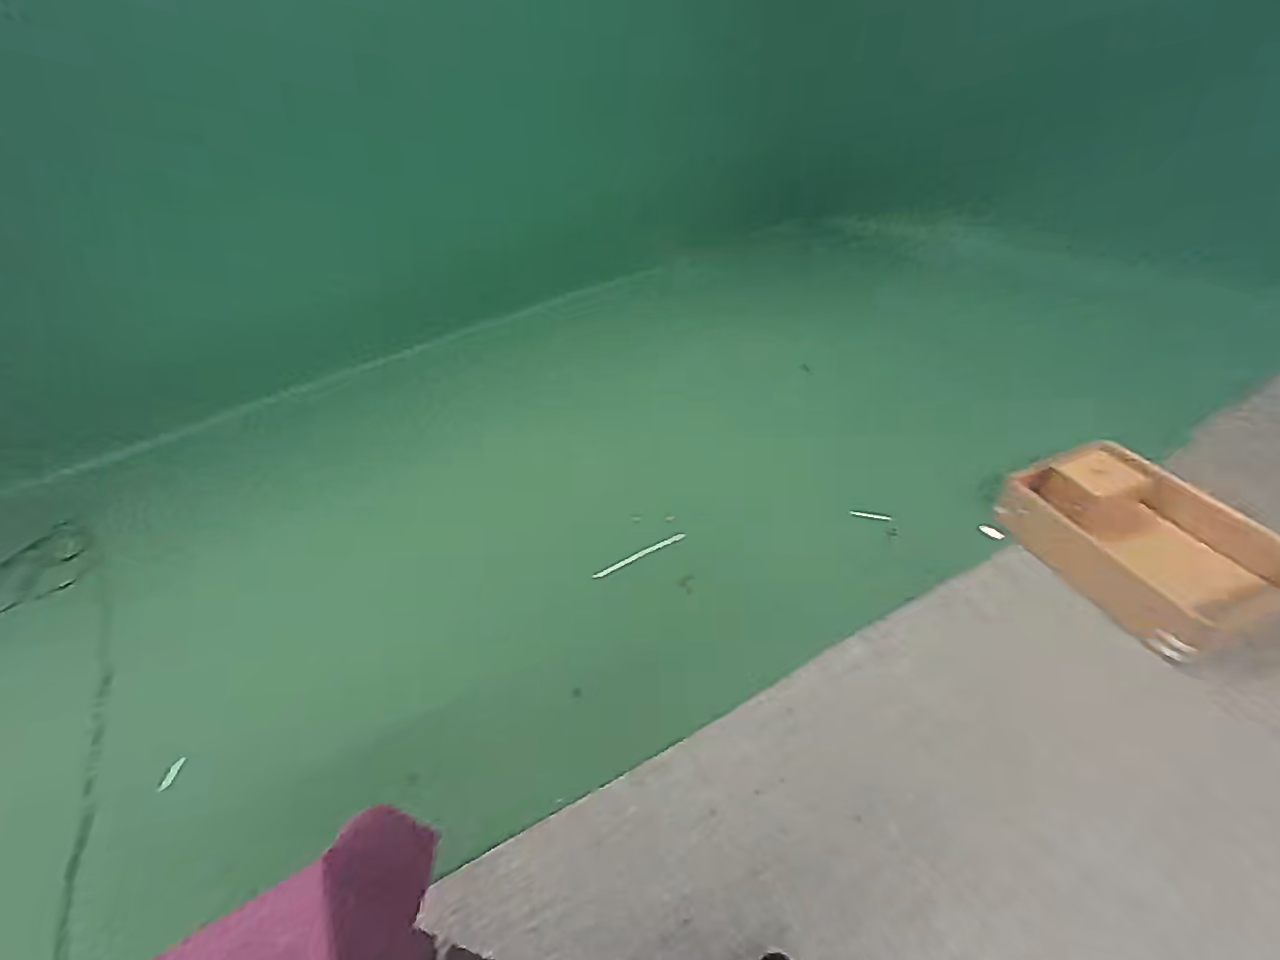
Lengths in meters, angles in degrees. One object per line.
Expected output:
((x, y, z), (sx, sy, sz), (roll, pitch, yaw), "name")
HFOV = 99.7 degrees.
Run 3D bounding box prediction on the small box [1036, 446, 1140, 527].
((1.406, 0.025, 1.717), (0.179, 0.176, 0.168), (-18, 43, -6), "small box")
